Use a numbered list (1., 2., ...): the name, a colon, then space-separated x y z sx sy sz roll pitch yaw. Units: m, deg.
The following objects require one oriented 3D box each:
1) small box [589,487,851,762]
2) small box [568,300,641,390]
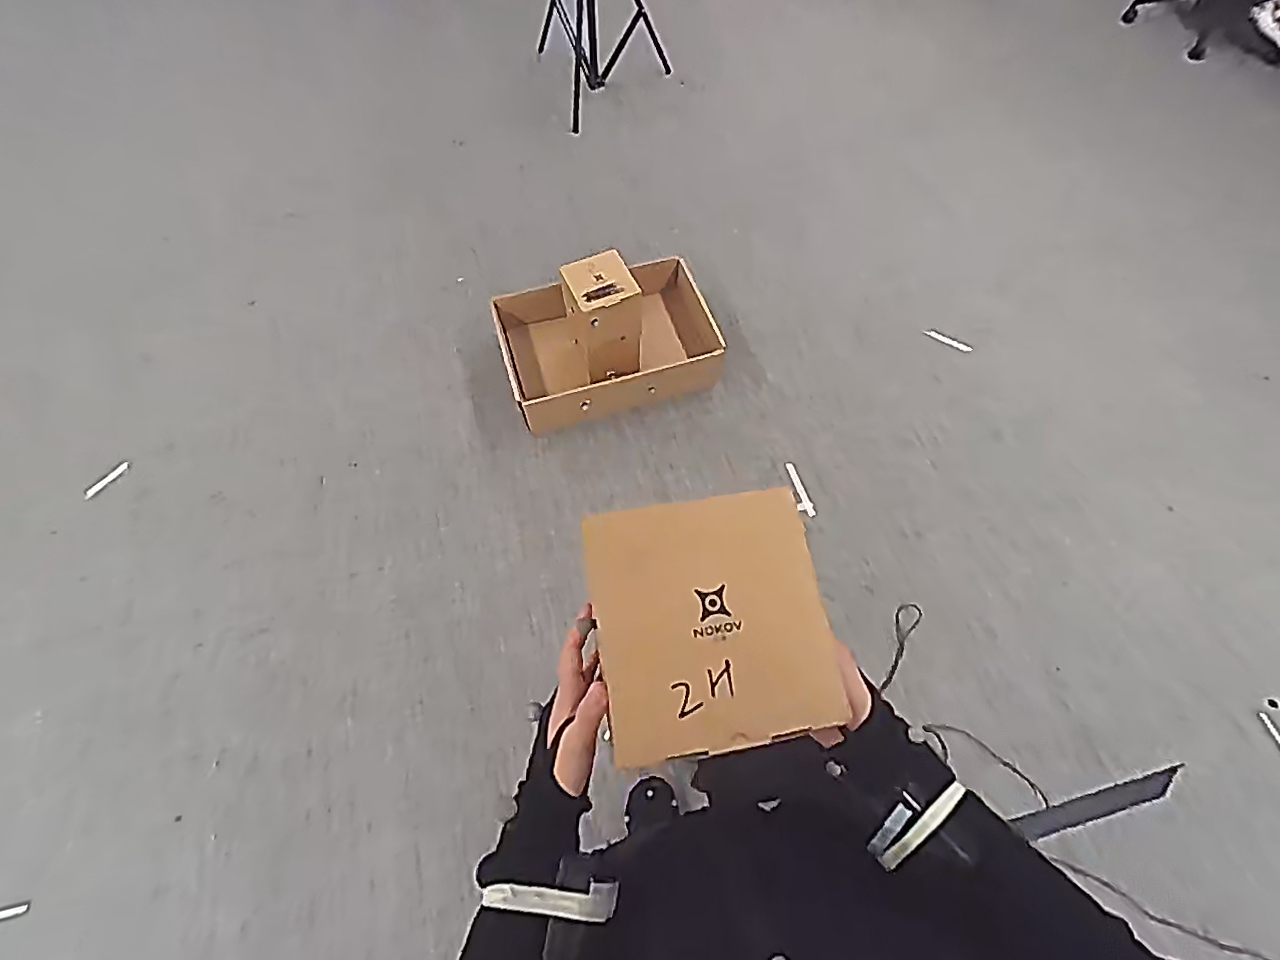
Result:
1. small box: 0.047 0.122 0.466 0.168 0.176 0.179 -8 72 -7
2. small box: -0.108 -0.404 1.631 0.168 0.176 0.179 -22 68 -10
